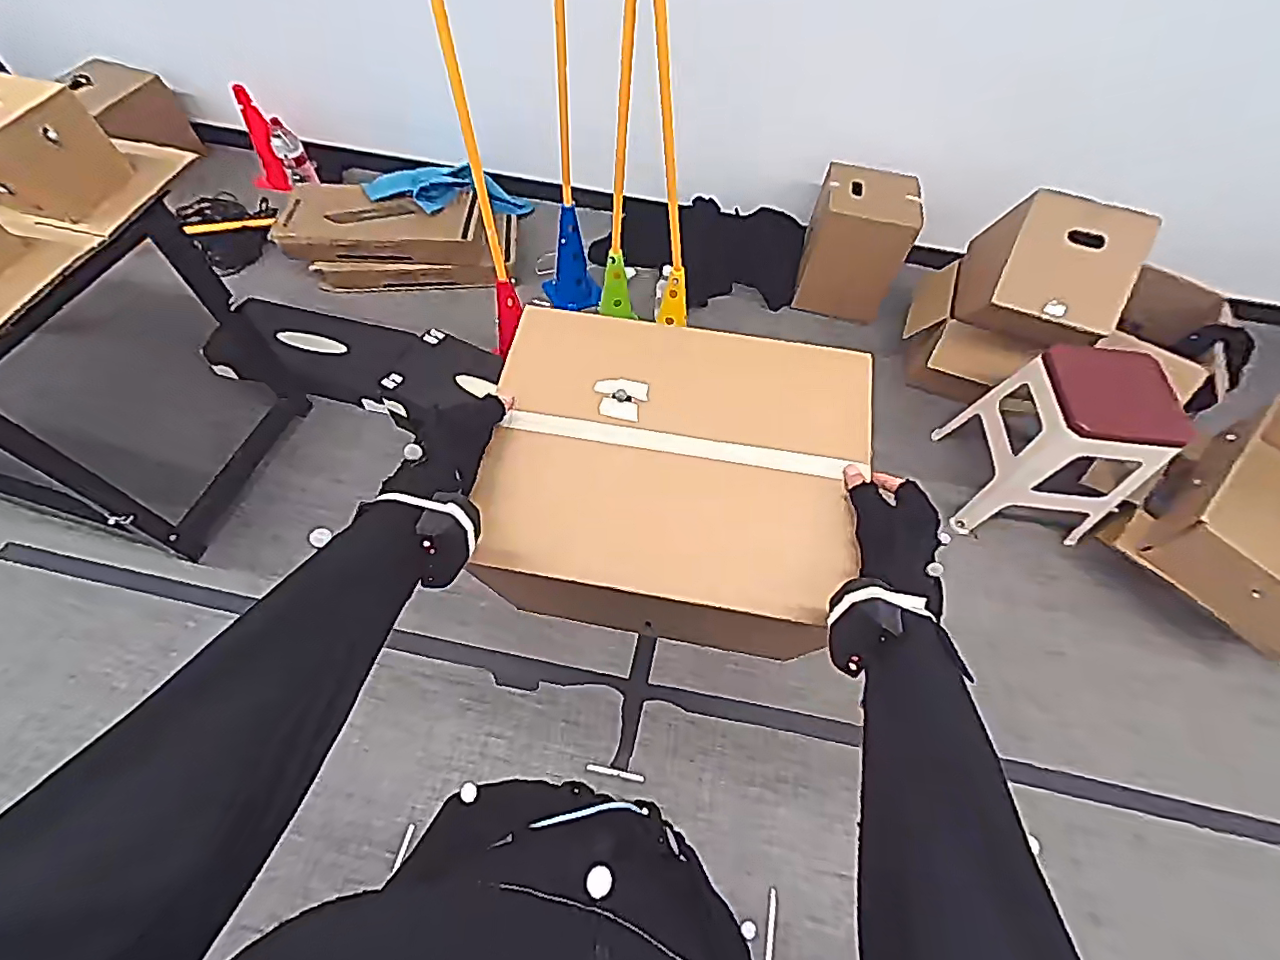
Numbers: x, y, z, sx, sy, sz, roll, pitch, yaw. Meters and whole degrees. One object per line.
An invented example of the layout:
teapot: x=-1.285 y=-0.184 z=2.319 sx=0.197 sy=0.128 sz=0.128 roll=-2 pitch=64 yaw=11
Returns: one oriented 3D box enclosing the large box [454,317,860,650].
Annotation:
large box: x=0.038 y=0.026 z=0.718 sx=0.408 sy=0.320 sz=0.320 roll=10 pitch=67 yaw=6
